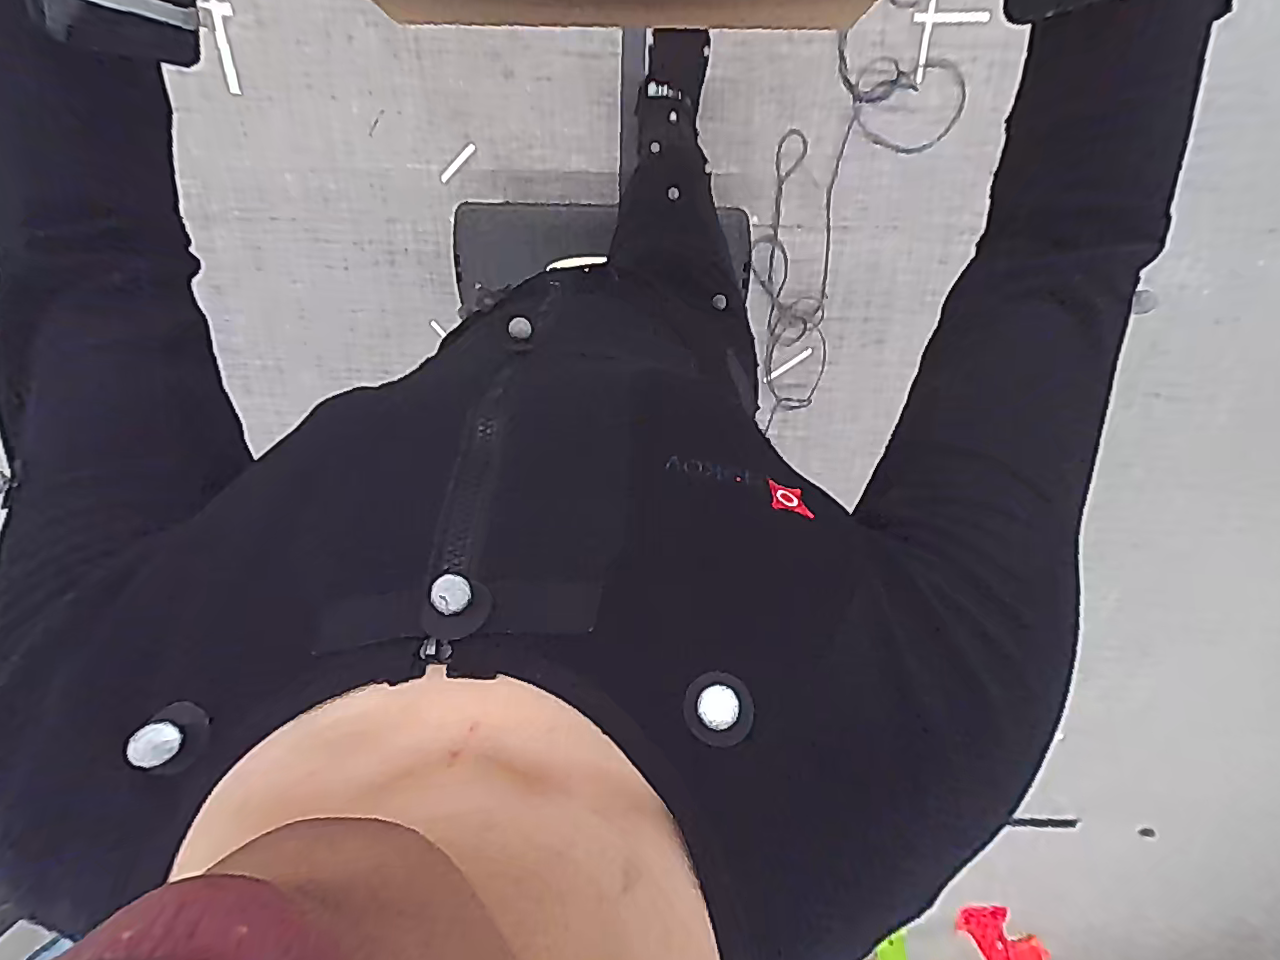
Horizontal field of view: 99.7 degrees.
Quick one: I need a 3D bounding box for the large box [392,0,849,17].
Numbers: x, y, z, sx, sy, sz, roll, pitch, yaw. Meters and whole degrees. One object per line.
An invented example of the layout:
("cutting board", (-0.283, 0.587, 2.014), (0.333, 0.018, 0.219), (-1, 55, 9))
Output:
("large box", (-0.016, -0.493, 0.280), (0.408, 0.320, 0.320), (0, 114, 0))
